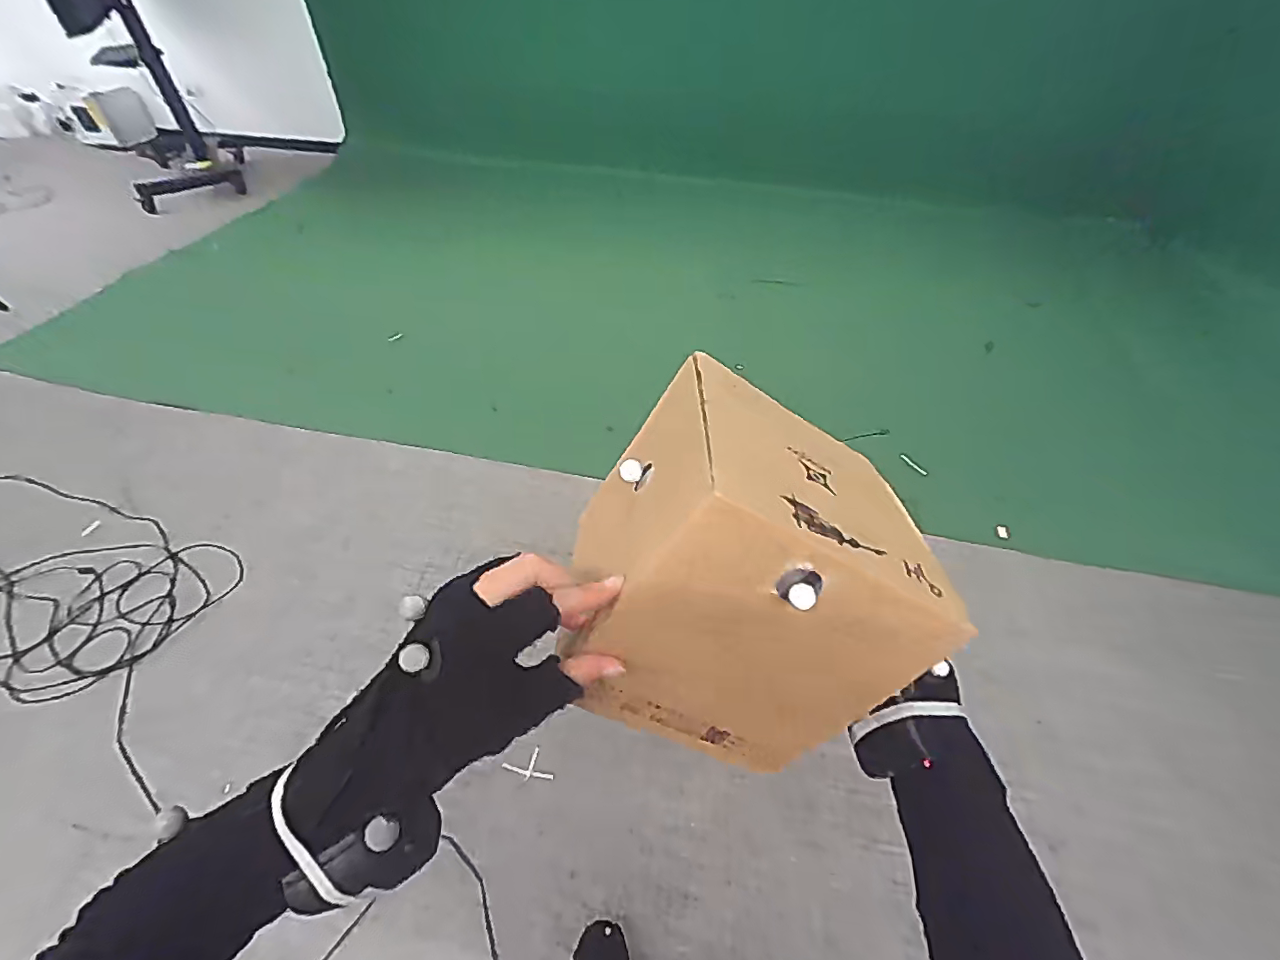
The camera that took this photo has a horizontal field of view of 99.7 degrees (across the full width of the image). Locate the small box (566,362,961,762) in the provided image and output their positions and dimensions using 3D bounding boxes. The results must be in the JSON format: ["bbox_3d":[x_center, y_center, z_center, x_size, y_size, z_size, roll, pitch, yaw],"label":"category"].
[{"bbox_3d":[0.063,0.054,0.376,0.168,0.176,0.179,27,30,-15],"label":"small box"}]
